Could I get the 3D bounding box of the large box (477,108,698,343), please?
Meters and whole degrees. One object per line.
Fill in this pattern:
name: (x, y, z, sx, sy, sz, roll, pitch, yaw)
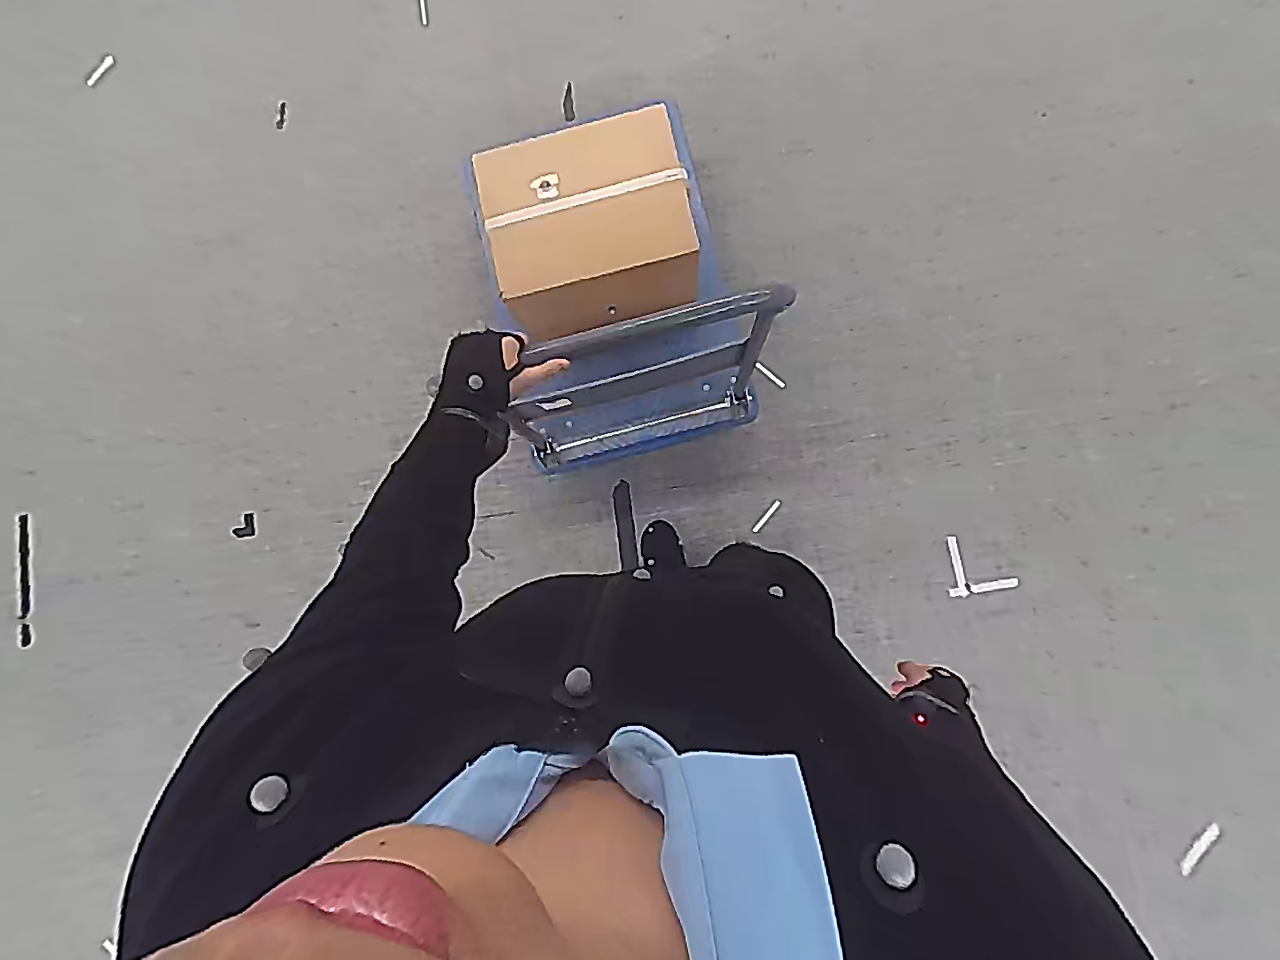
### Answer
large box: (-0.097, -0.545, 1.232, 0.408, 0.320, 0.320, -13, 85, 5)
